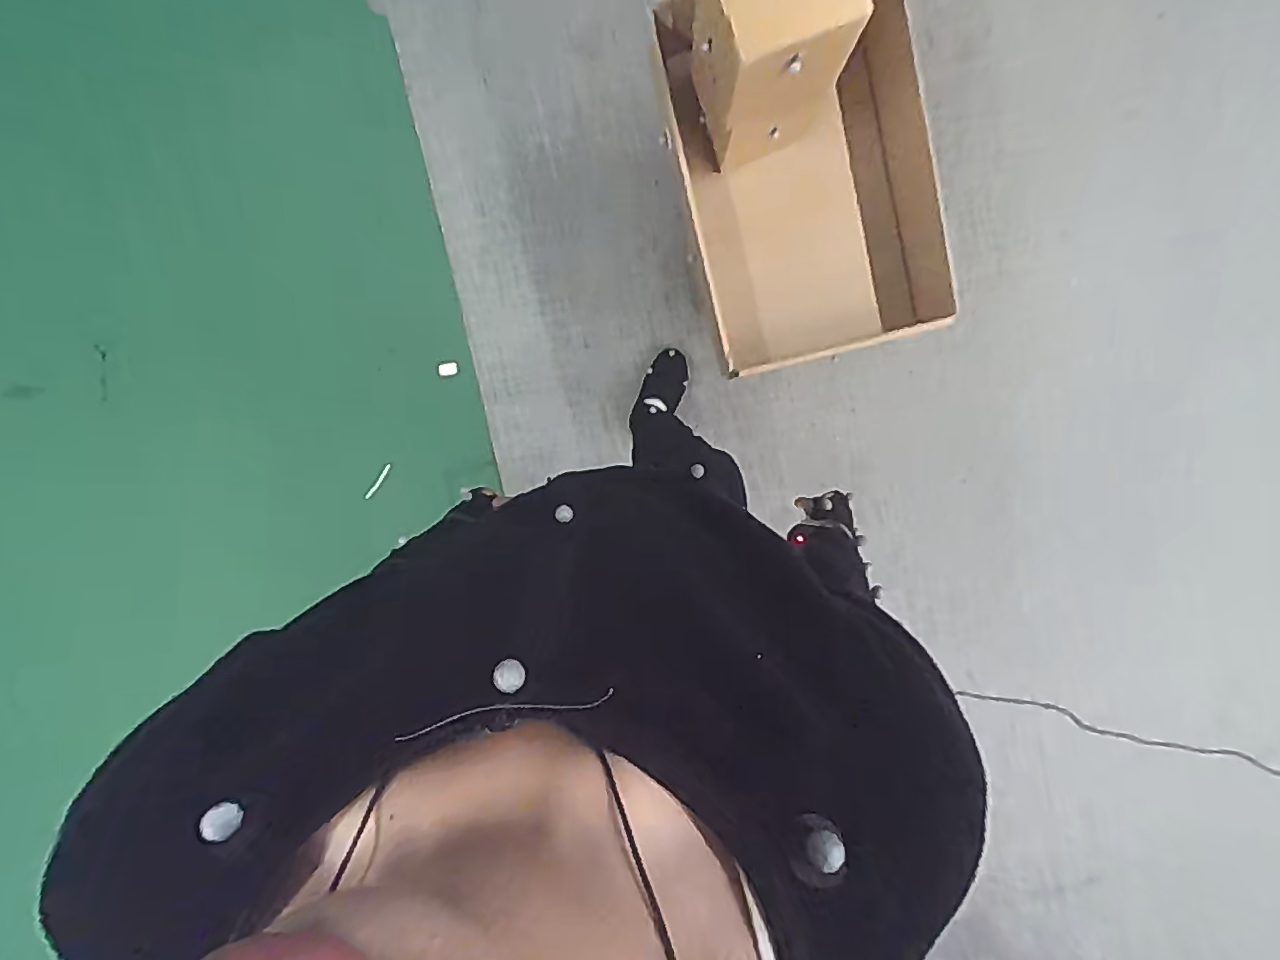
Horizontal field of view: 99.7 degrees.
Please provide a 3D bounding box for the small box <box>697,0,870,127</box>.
[{"bbox_3d":[0.187,-0.641,0.755,0.179,0.176,0.168,-18,96,5],"label":"small box"}]
